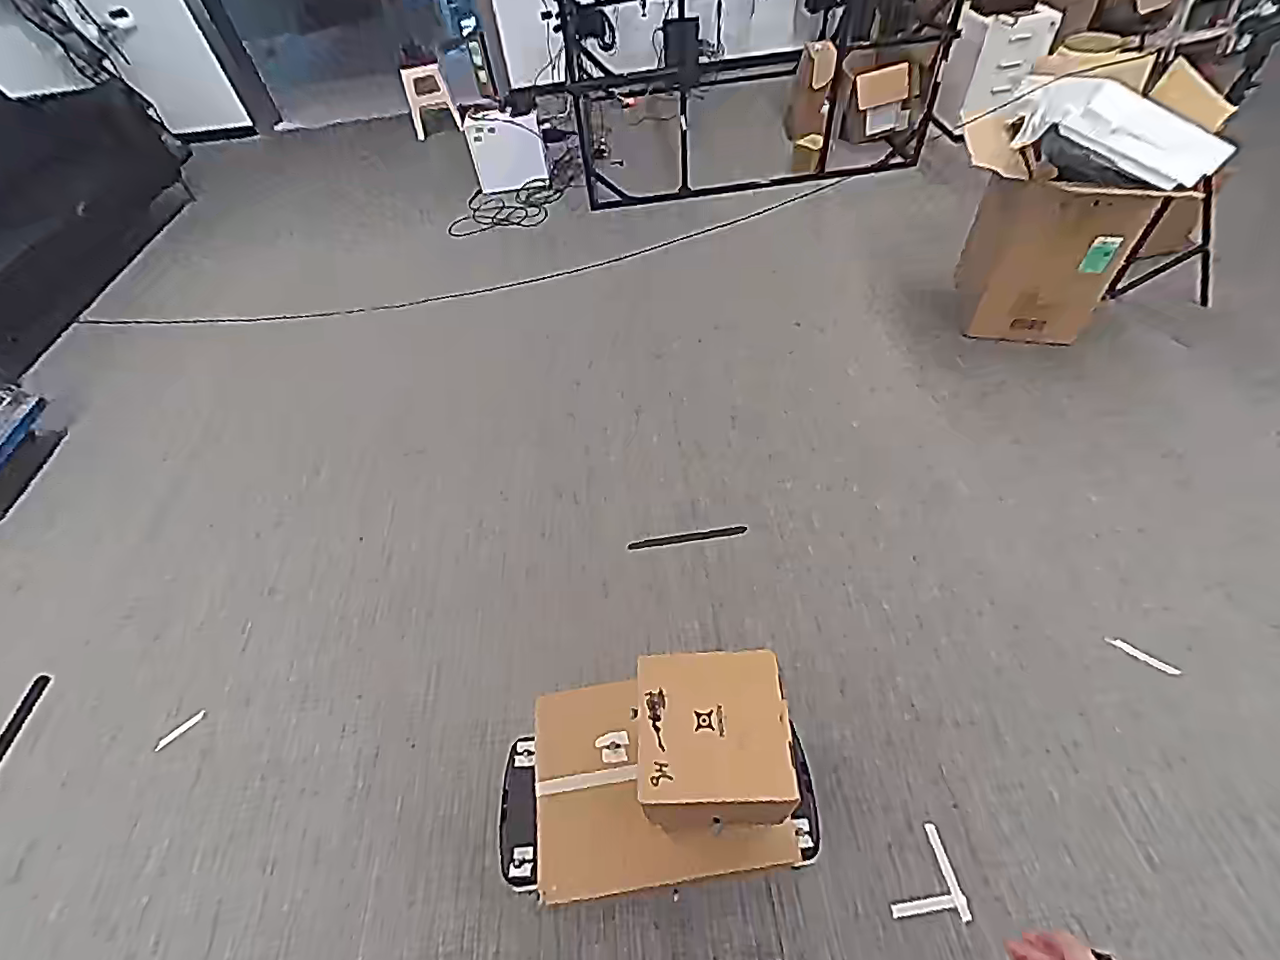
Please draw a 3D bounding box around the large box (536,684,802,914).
[{"bbox_3d":[0.045,0.583,1.012,0.408,0.320,0.320,-10,49,0],"label":"large box"}]

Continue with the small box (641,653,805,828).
[{"bbox_3d":[0.093,0.330,0.683,0.179,0.176,0.168,-3,49,3],"label":"small box"}]
